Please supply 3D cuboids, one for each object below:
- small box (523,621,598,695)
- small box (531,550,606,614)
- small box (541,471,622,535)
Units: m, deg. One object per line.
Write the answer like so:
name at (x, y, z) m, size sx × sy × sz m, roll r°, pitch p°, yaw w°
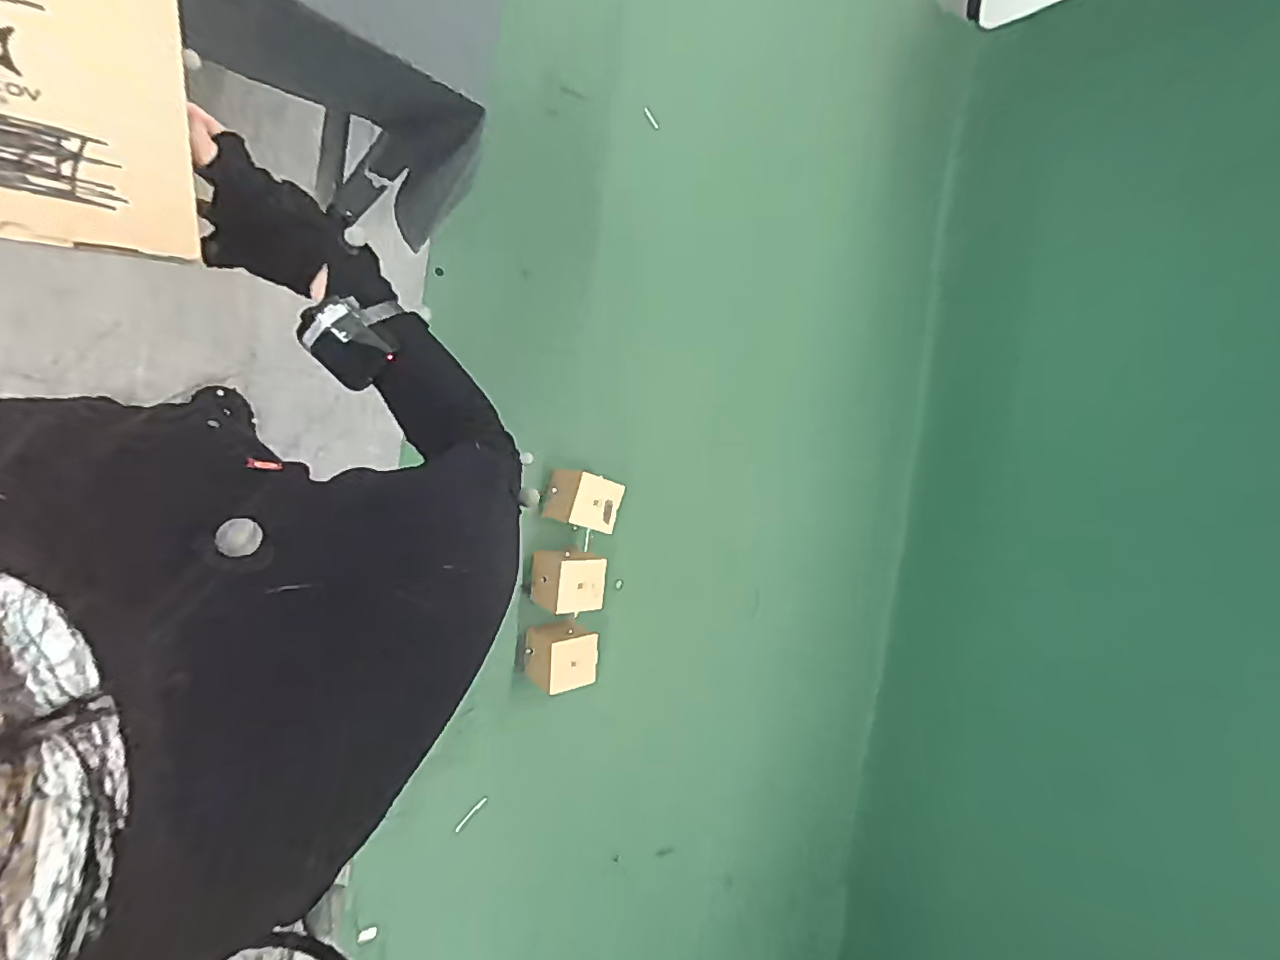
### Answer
small box at (-0.258, 0.571, 1.760) m, size 0.179 × 0.176 × 0.168 m, roll 0°, pitch 95°, yaw -41°
small box at (-0.236, 0.325, 1.748) m, size 0.179 × 0.176 × 0.168 m, roll 4°, pitch 93°, yaw -42°
small box at (-0.191, 0.070, 1.759) m, size 0.179 × 0.176 × 0.168 m, roll 21°, pitch 81°, yaw -39°
